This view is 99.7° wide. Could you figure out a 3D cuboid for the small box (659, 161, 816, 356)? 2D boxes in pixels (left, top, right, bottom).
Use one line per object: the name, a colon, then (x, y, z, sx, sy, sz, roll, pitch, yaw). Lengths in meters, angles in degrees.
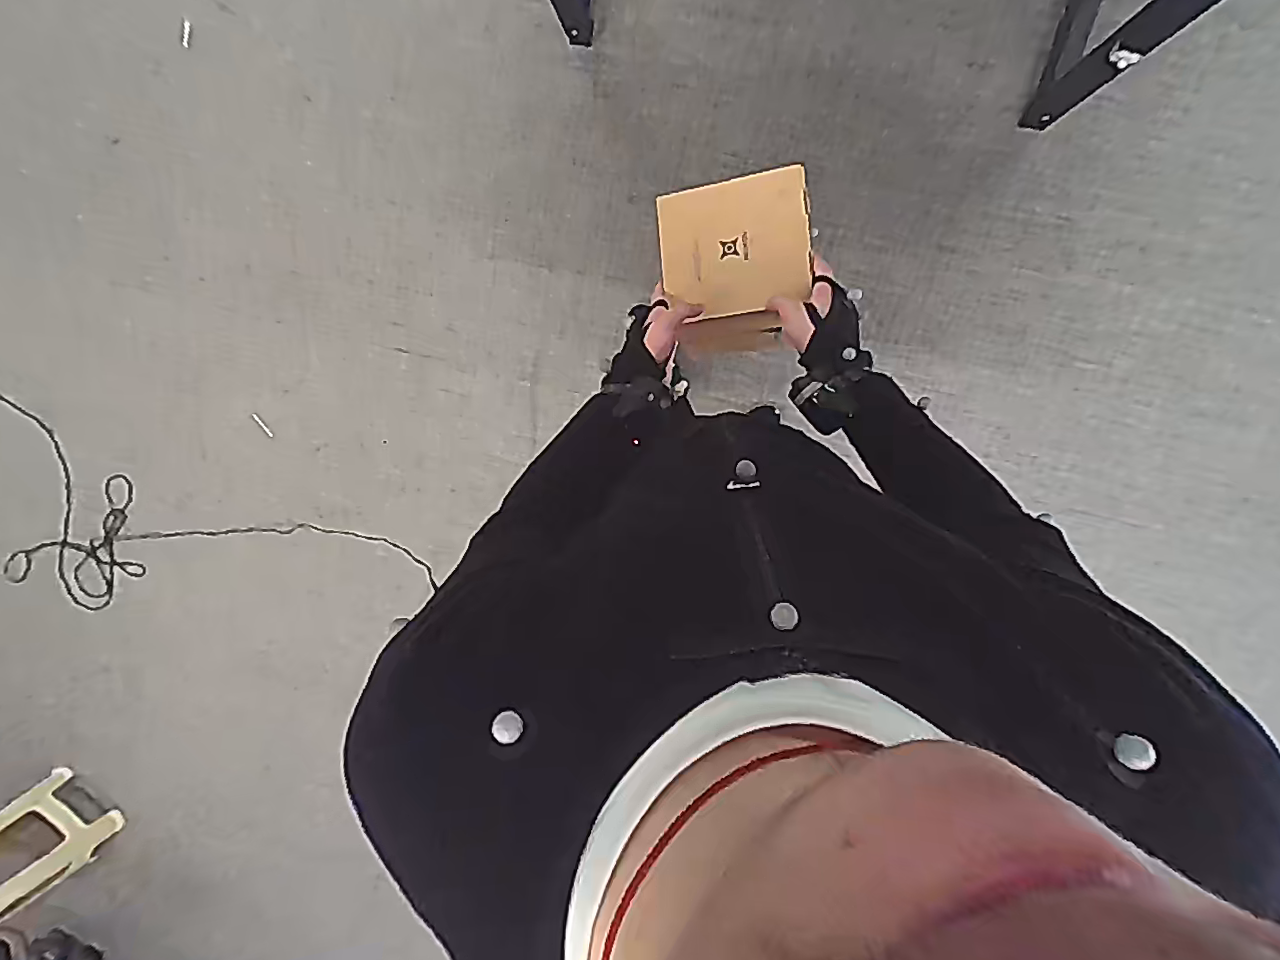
small box: (0.130, -0.271, 0.704, 0.179, 0.176, 0.168, -4, 84, 16)
